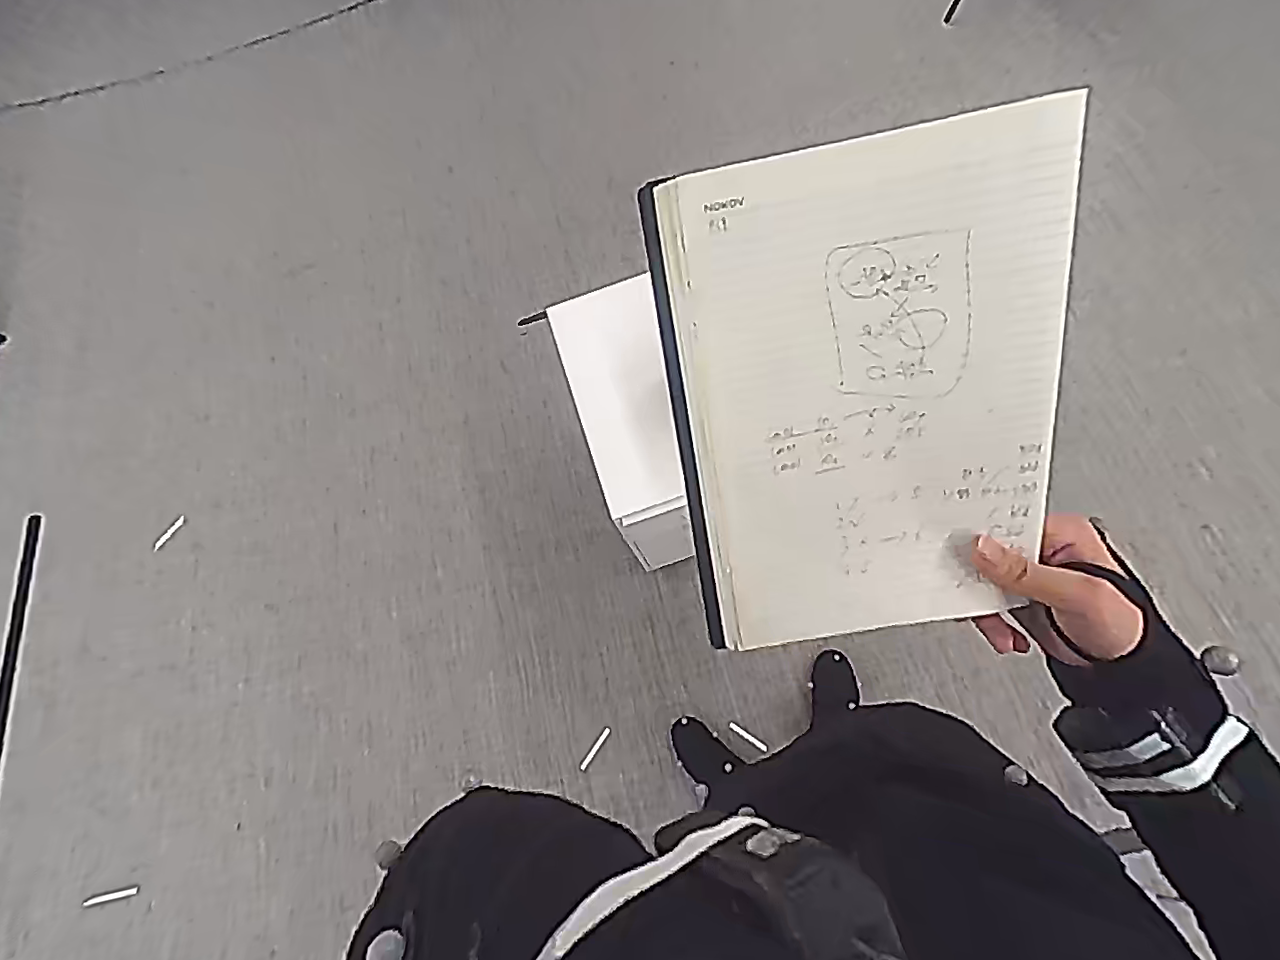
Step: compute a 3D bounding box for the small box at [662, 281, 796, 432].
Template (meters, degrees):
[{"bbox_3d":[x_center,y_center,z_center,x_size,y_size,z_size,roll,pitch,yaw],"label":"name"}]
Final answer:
[{"bbox_3d":[0.158,-0.217,0.988,0.179,0.176,0.168,-28,69,-2],"label":"small box"}]
